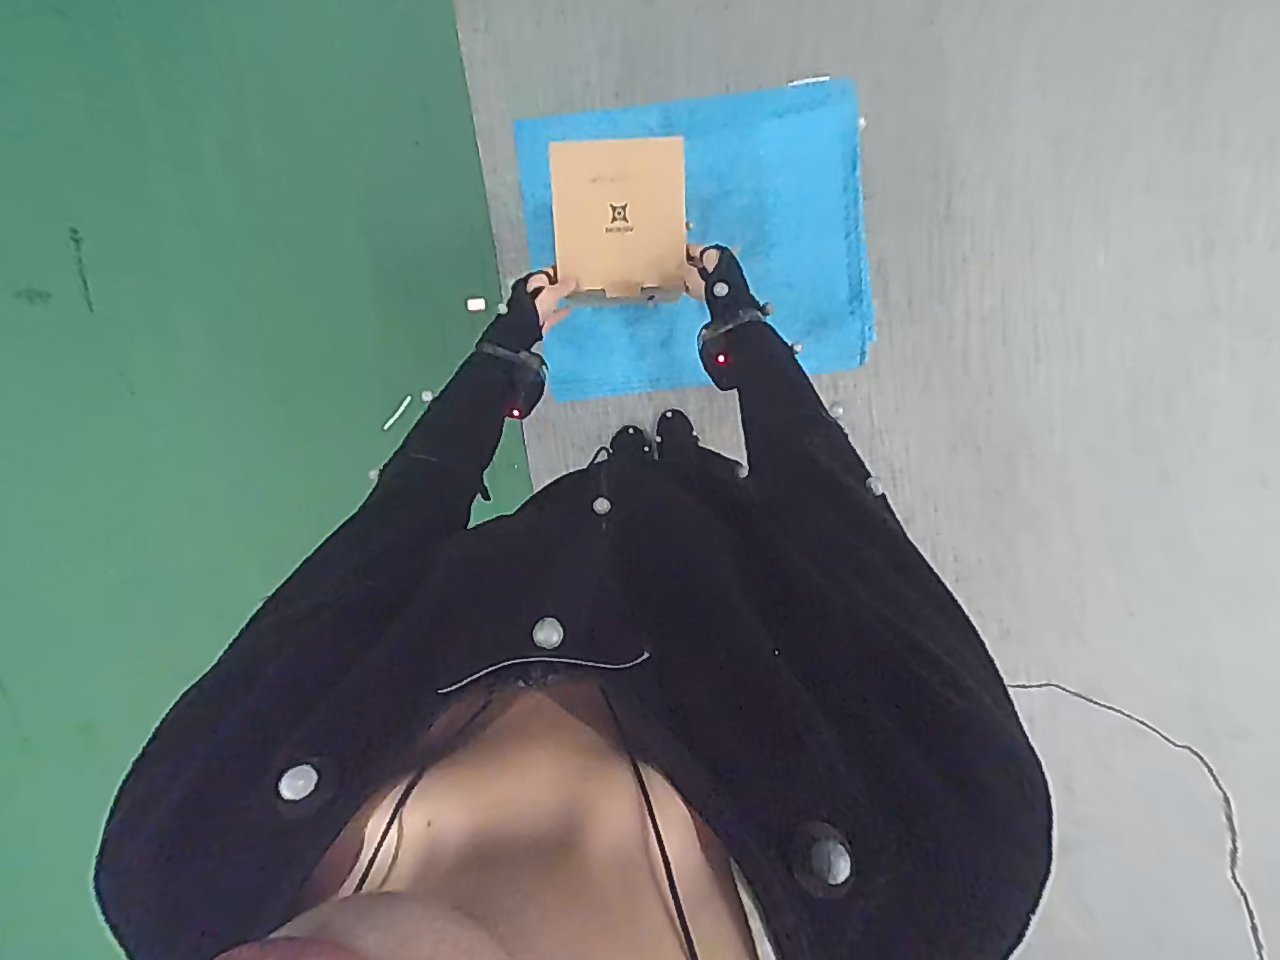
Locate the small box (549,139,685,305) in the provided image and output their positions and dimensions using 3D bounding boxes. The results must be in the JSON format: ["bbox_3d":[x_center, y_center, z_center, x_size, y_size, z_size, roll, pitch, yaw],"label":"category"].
[{"bbox_3d":[-0.025,-0.337,0.741,0.168,0.176,0.179,-2,101,0],"label":"small box"}]
